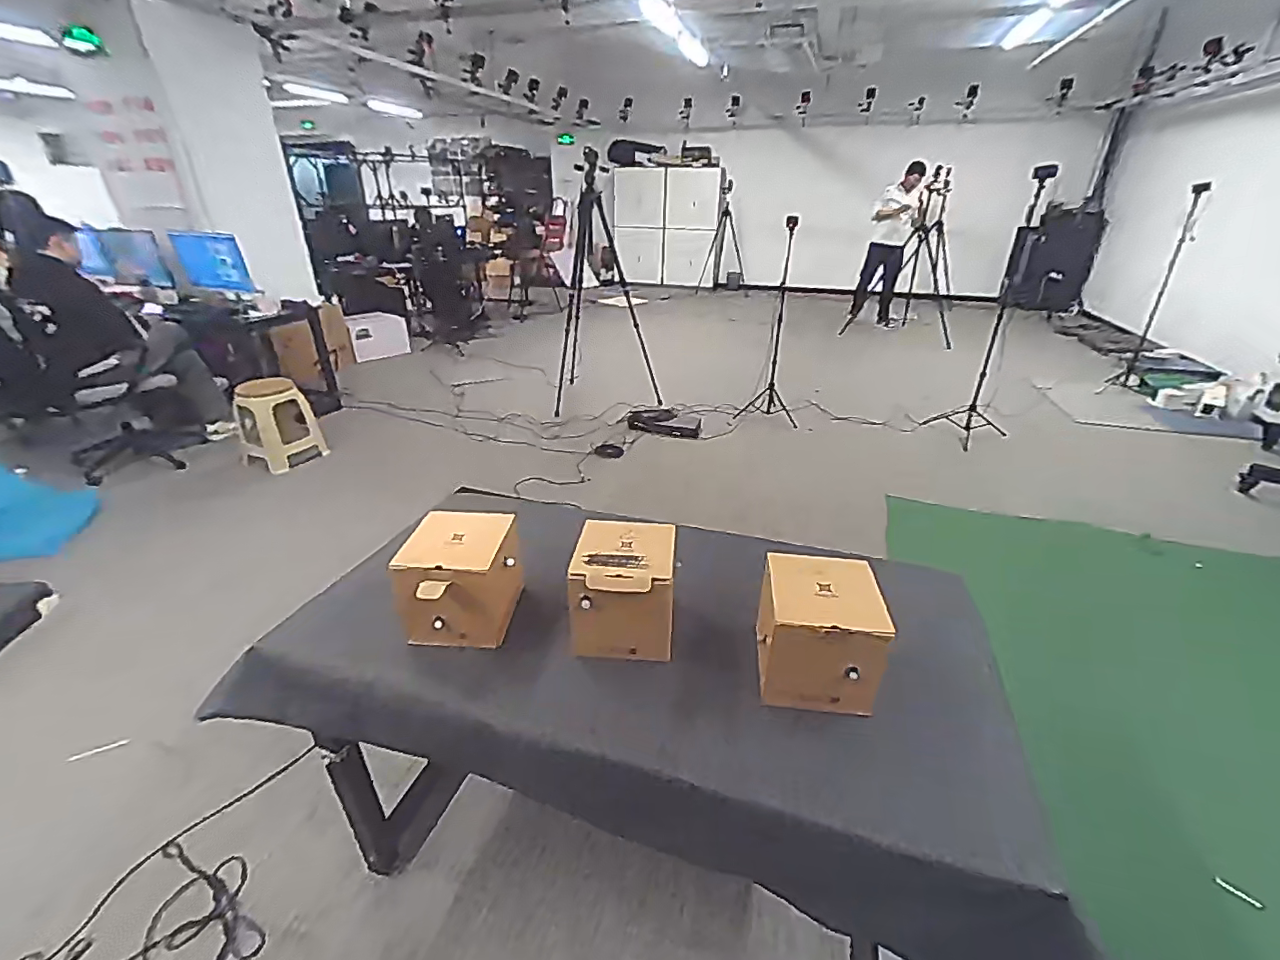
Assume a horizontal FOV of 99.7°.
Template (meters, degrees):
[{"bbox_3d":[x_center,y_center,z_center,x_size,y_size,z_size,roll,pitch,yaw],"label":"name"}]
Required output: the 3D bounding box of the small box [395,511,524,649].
[{"bbox_3d":[-0.311,0.175,0.972,0.168,0.176,0.179,2,28,3],"label":"small box"}]

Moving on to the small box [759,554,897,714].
[{"bbox_3d":[0.284,0.240,0.855,0.168,0.176,0.179,5,26,6],"label":"small box"}]
